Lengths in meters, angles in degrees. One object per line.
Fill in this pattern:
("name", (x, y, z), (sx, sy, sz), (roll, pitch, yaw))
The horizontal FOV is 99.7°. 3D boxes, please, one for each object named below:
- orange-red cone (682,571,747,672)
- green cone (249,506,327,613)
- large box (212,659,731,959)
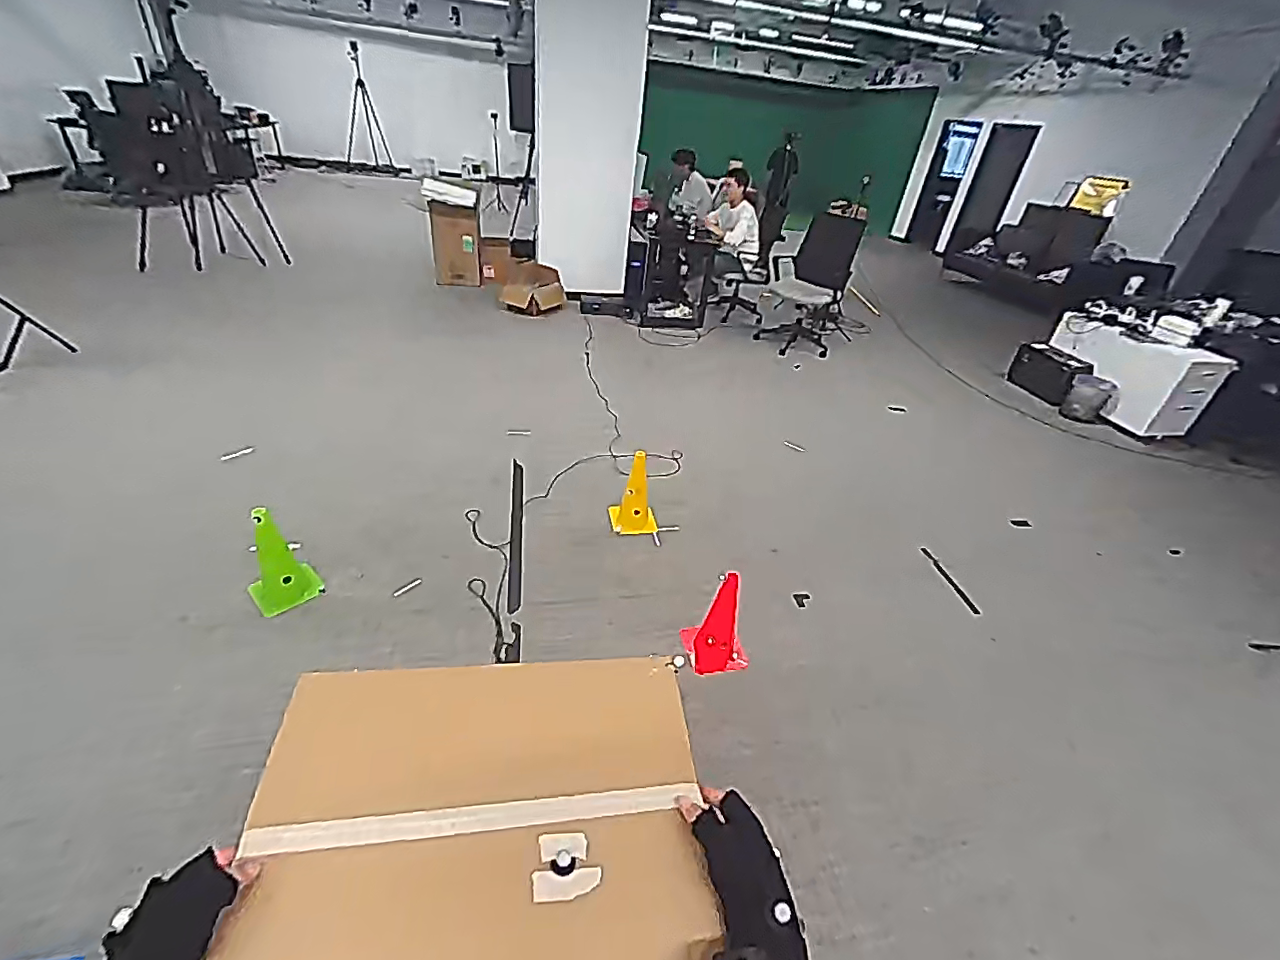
("orange-red cone", (0.278, 0.448, 1.817), (0.198, 0.360, 0.199), (-1, 33, -14))
("green cone", (-1.244, 0.237, 1.840), (0.200, 0.368, 0.202), (30, 42, 32))
("large box", (-0.162, 0.427, 0.594), (0.408, 0.320, 0.320), (2, 40, -12))
